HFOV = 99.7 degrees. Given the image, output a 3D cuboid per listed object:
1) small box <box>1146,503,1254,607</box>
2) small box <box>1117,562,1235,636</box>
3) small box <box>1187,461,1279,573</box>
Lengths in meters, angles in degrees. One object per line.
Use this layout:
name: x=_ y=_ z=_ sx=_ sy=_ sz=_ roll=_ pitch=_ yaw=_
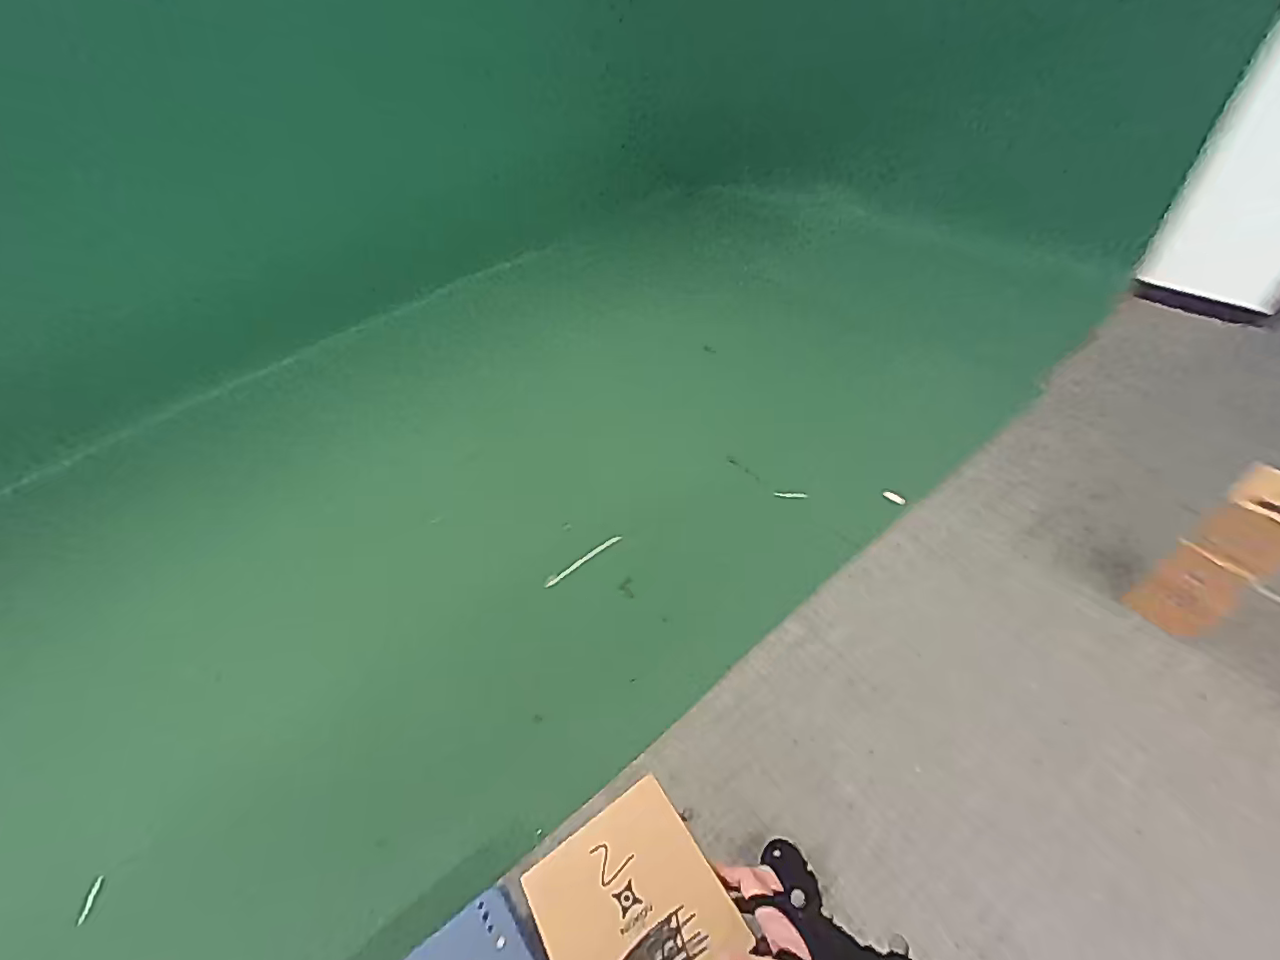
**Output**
small box: x=1.507 y=0.202 z=1.433 sx=0.179 sy=0.176 sz=0.168 roll=-32 pitch=50 yaw=-16
small box: x=1.536 y=0.312 z=1.550 sx=0.168 sy=0.176 sz=0.179 roll=-31 pitch=50 yaw=-16
small box: x=1.496 y=0.093 z=1.309 sx=0.179 sy=0.176 sz=0.168 roll=-32 pitch=50 yaw=-18
